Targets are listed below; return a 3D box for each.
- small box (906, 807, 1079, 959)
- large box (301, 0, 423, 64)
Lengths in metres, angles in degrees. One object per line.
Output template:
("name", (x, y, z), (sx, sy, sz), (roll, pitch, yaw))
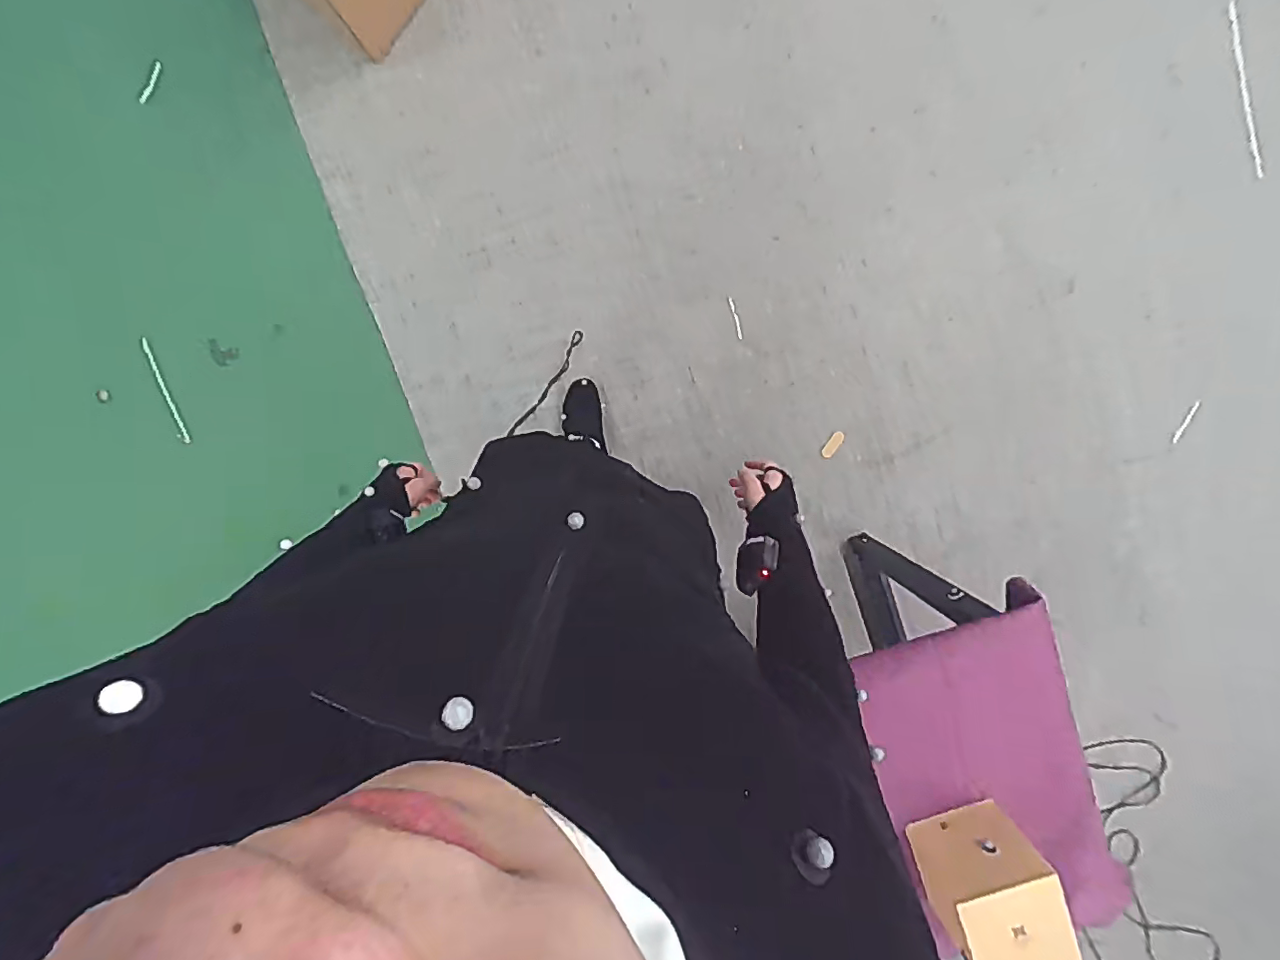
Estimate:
("small box", (0.589, 0.700, 0.926), (0.168, 0.176, 0.179), (-20, 99, 2))
("large box", (-0.694, -1.339, 1.274), (0.320, 0.320, 0.408), (39, 97, -5))
